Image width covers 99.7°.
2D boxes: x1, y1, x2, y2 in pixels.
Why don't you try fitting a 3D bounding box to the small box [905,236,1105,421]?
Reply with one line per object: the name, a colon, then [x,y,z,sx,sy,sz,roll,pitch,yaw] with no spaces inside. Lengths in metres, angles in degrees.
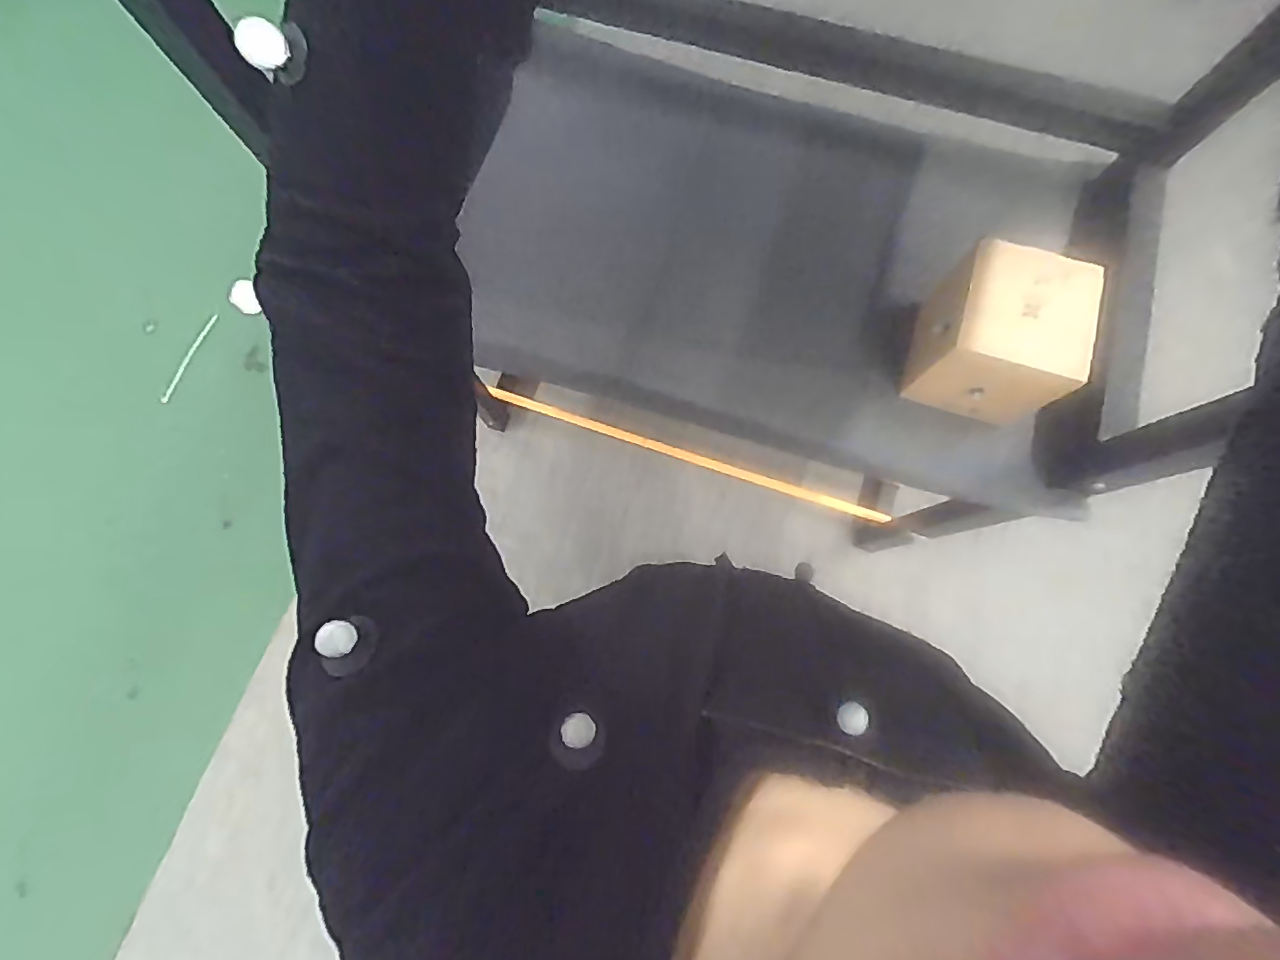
small box: [0.508,-0.206,0.776,0.168,0.176,0.179,18,76,5]
